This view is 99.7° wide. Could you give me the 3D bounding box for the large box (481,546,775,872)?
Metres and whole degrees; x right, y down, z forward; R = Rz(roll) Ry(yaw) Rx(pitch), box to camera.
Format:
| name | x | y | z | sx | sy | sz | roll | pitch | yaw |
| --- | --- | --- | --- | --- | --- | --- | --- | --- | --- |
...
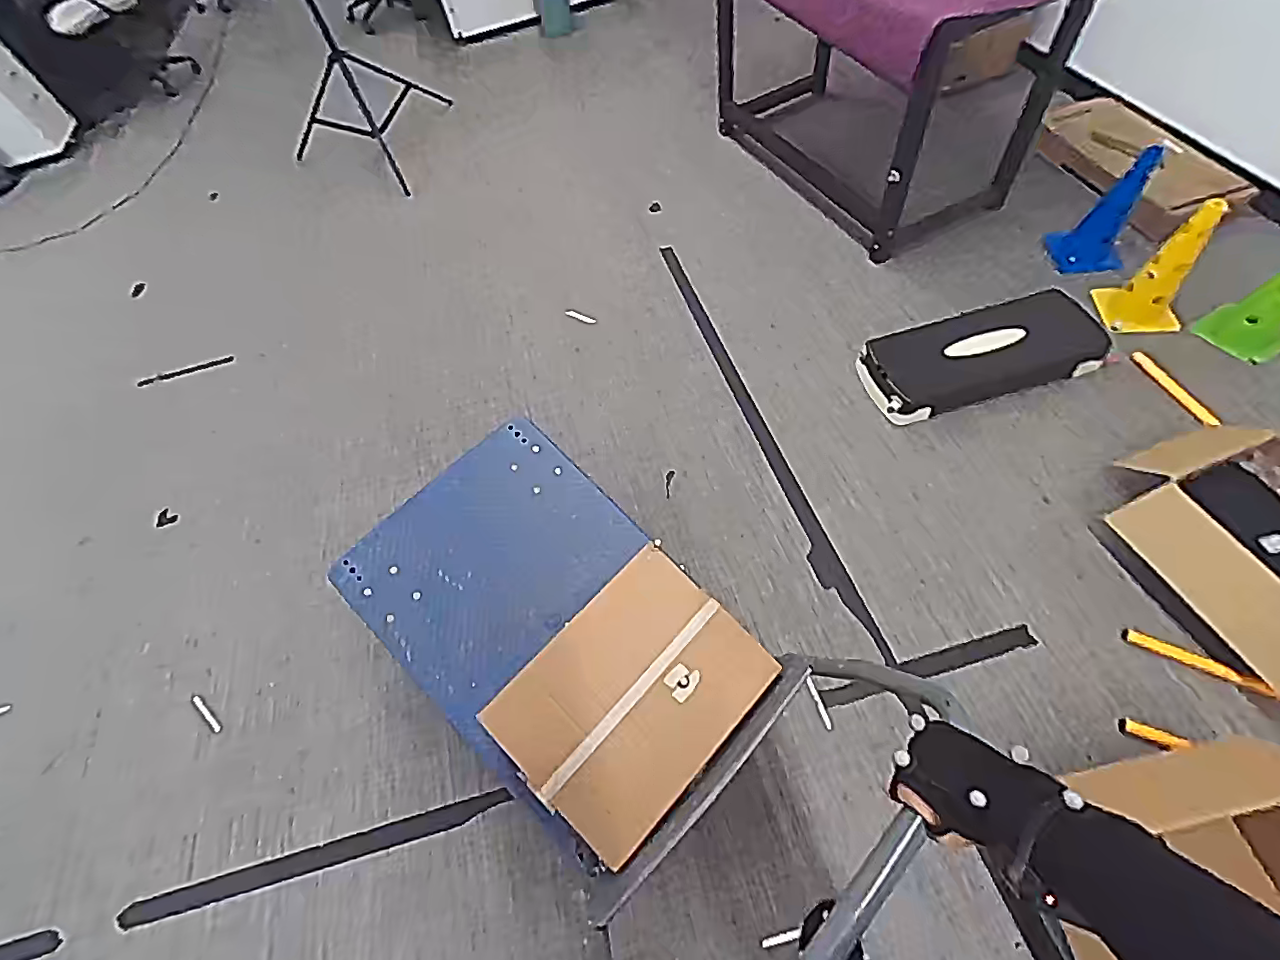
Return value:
| name | x | y | z | sx | sy | sz | roll | pitch | yaw |
| --- | --- | --- | --- | --- | --- | --- | --- | --- | --- |
| large box | -0.024 | 0.400 | 1.019 | 0.320 | 0.320 | 0.408 | 43 | 72 | 9 |
